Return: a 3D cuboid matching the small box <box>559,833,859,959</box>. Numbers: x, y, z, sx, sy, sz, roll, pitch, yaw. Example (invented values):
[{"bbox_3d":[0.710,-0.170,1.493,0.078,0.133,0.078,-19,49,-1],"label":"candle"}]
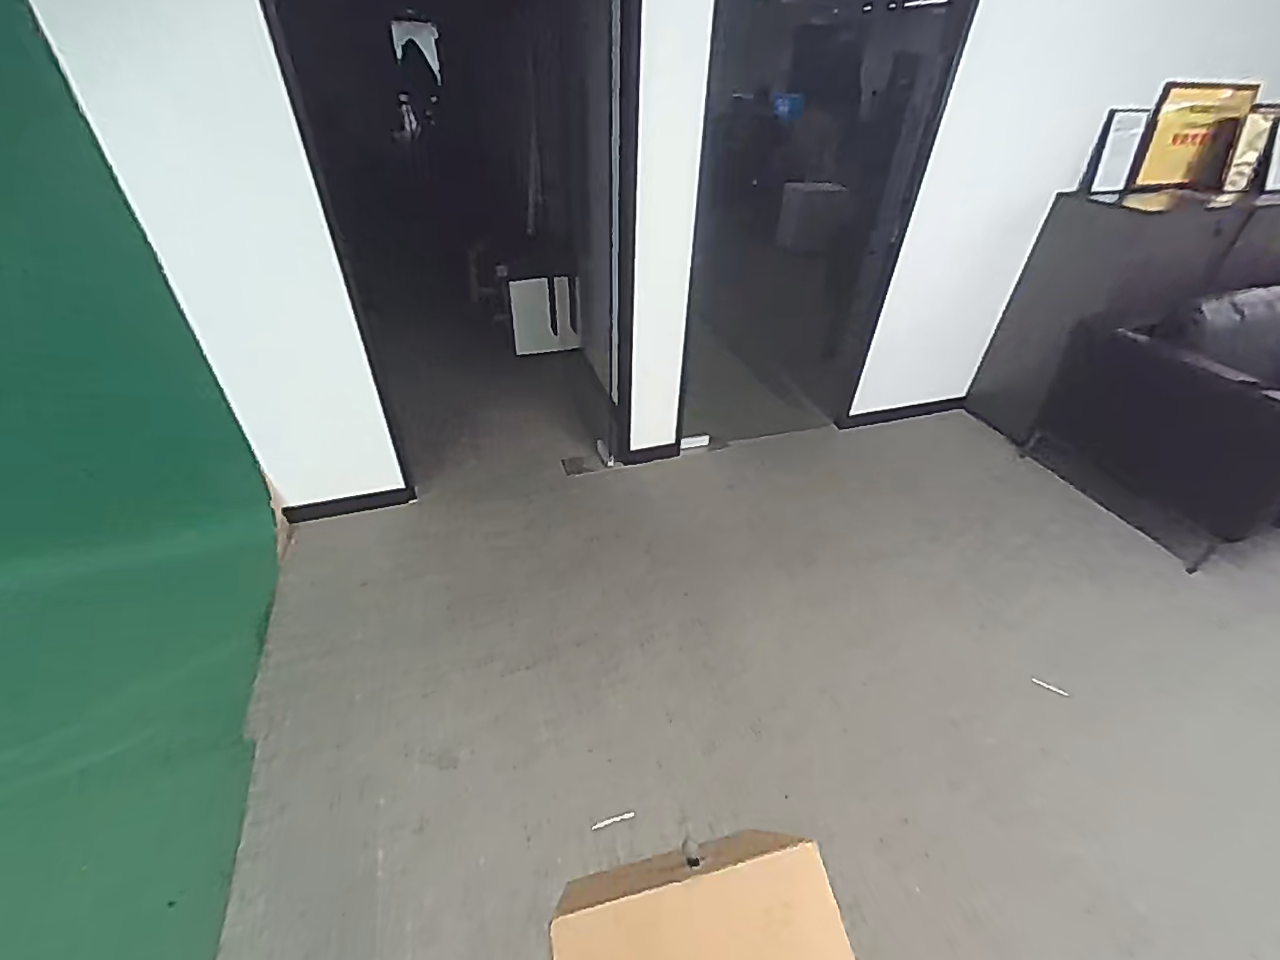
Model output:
[{"bbox_3d":[0.048,0.359,0.368,0.179,0.176,0.168,-10,61,-8],"label":"small box"}]
